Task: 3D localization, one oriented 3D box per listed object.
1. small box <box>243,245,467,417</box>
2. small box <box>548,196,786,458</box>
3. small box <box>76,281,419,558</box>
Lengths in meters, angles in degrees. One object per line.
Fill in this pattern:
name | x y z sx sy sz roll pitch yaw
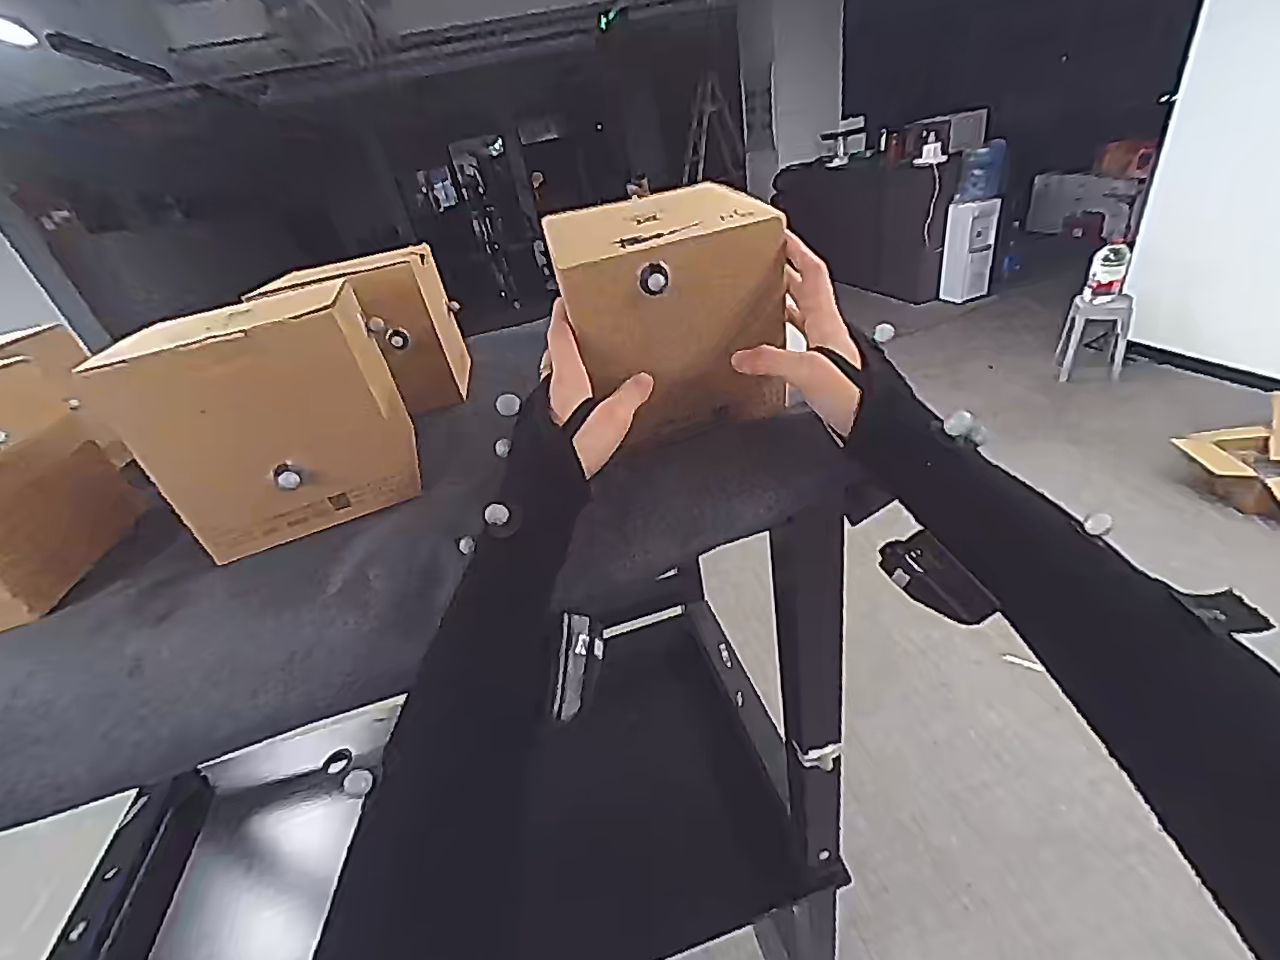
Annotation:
small box | -0.325 -0.175 0.666 0.179 0.176 0.168 -15 31 -6
small box | 0.020 -0.143 0.488 0.168 0.176 0.179 -15 33 -4
small box | -0.311 -0.062 0.479 0.168 0.176 0.179 -21 33 -14
